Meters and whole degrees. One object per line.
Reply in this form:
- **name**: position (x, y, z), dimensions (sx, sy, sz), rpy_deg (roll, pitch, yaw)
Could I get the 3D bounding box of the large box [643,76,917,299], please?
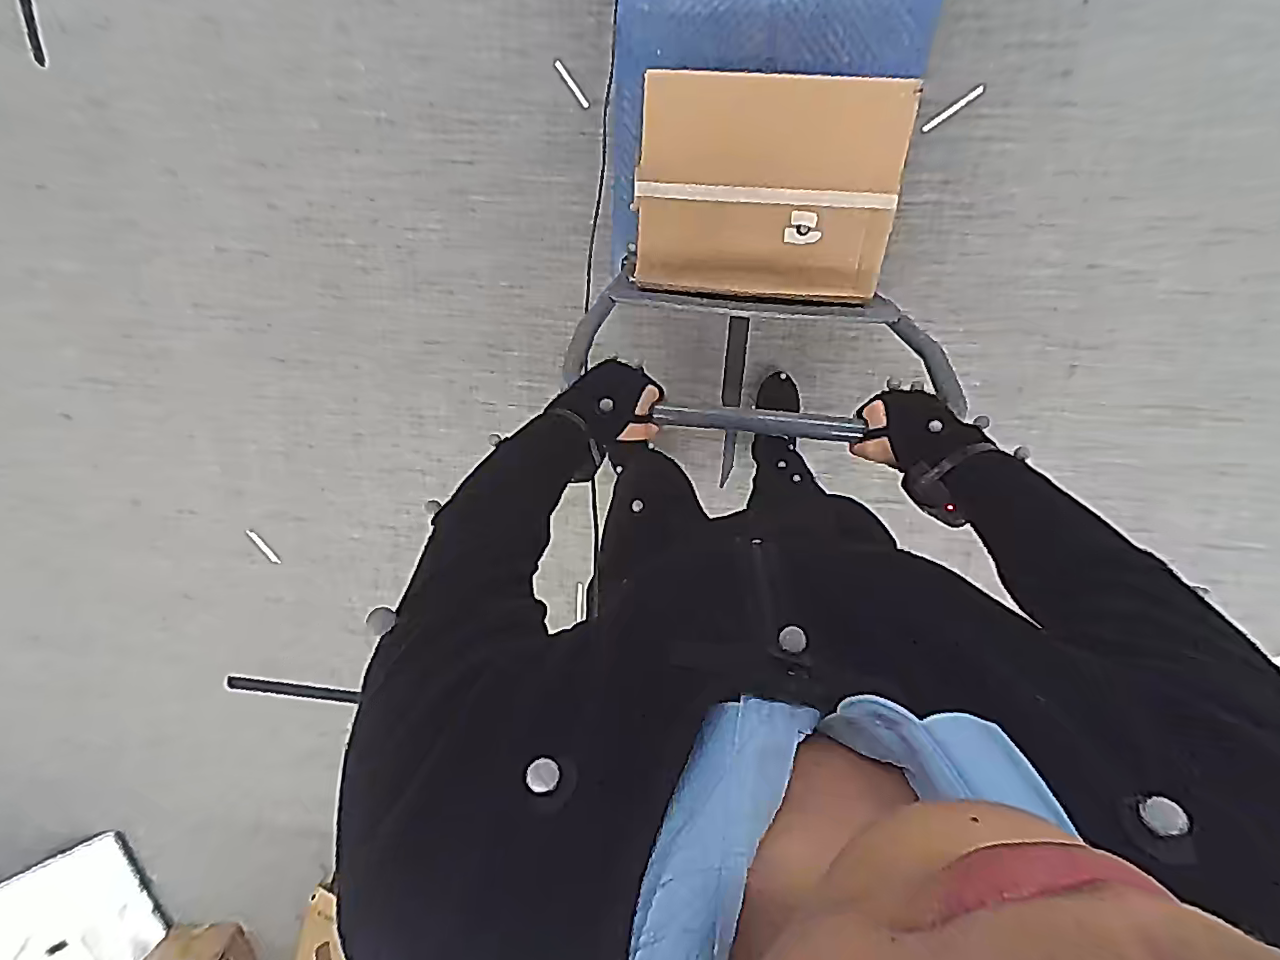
- **large box**: position (0.220, -0.529, 1.009), dimensions (0.408, 0.320, 0.320), rpy_deg (5, 118, 4)
